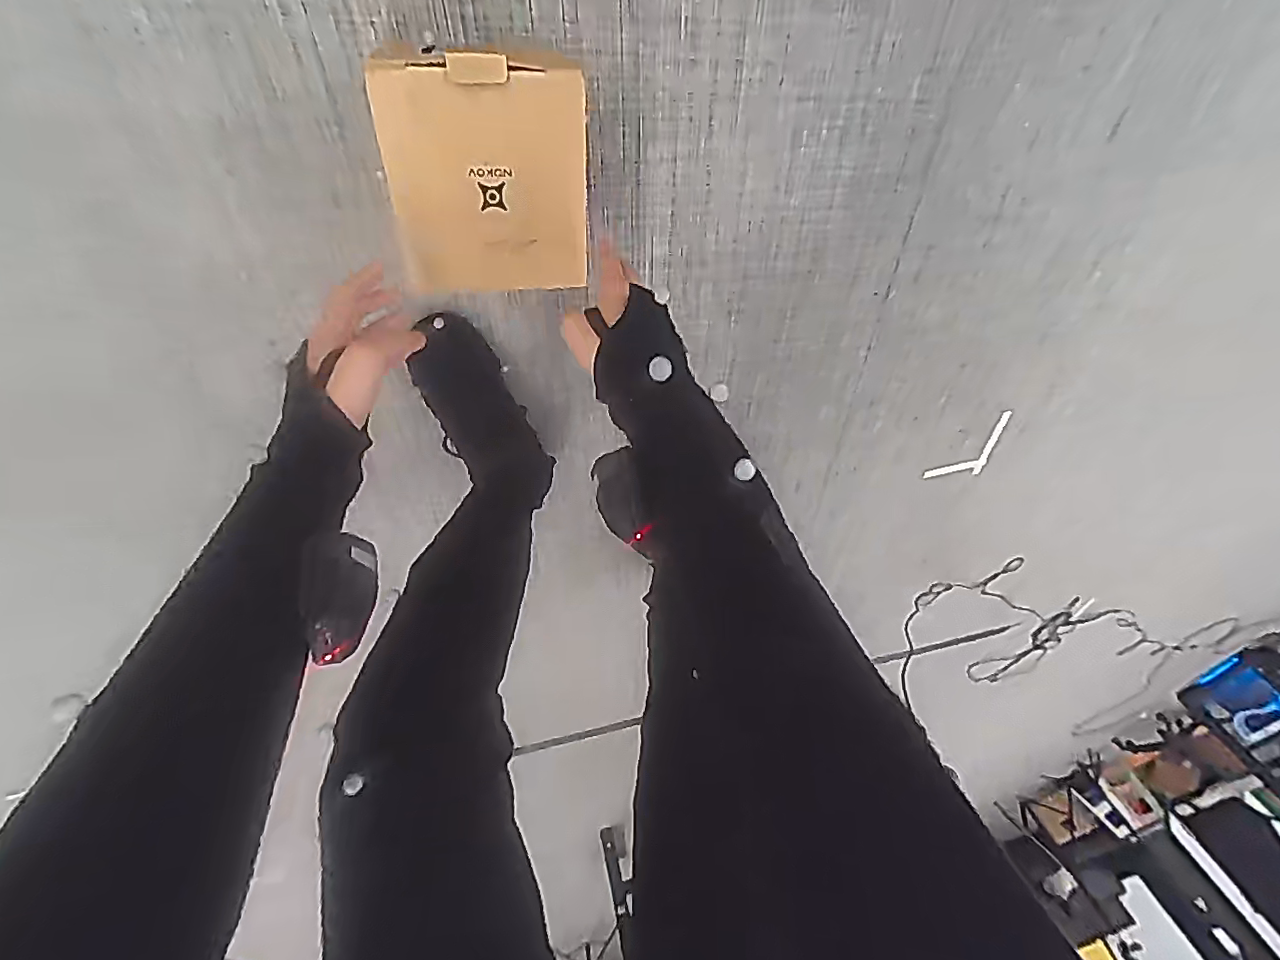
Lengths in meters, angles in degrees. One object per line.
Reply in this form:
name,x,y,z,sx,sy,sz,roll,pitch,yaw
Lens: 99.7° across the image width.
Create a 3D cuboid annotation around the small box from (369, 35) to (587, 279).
small box,-0.146,-0.313,0.523,0.168,0.176,0.179,-6,132,-12
